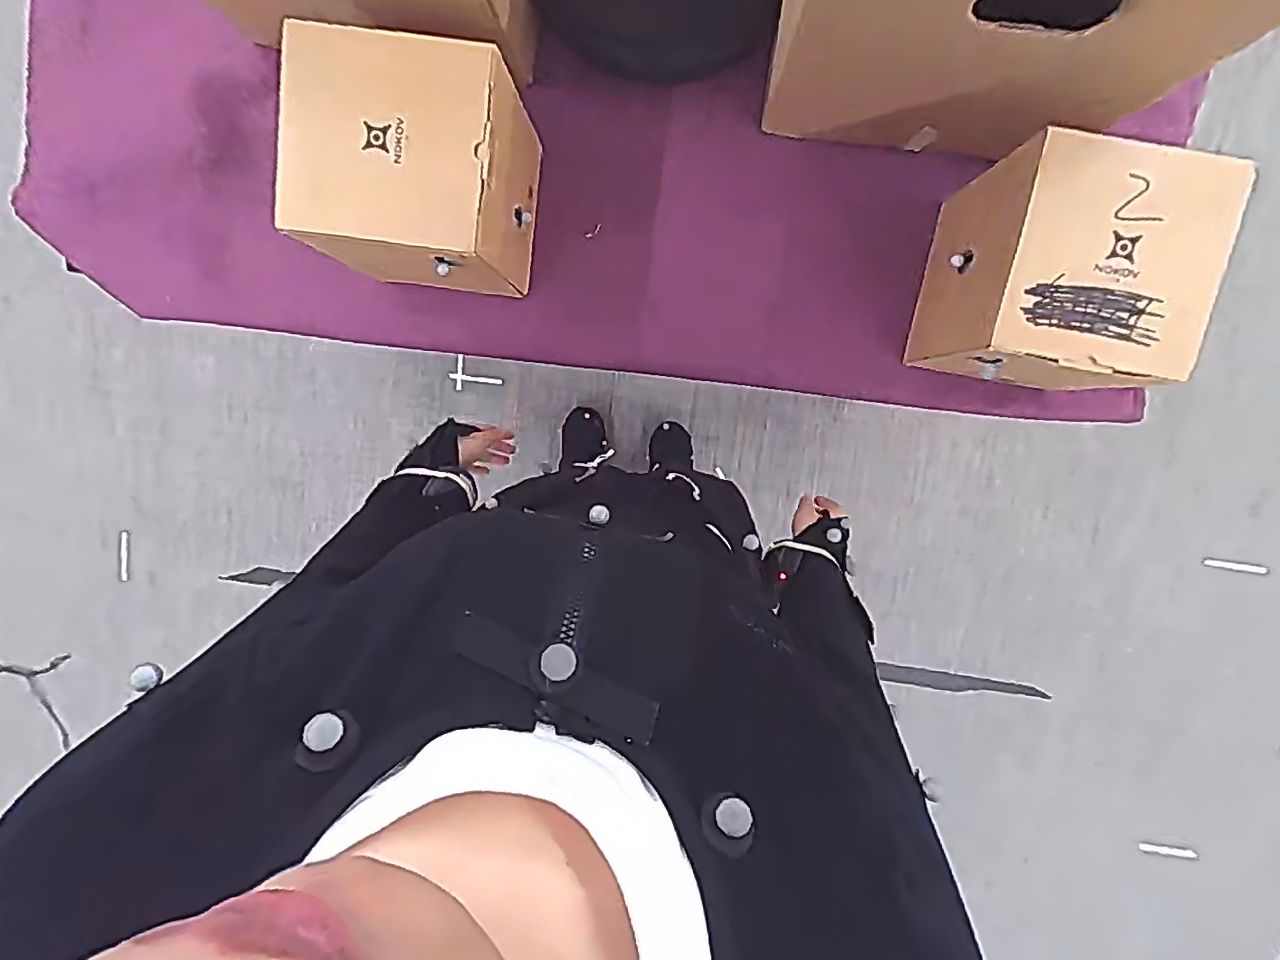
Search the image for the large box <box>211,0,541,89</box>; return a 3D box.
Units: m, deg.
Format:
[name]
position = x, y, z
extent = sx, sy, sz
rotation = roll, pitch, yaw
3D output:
[large box]
position = -0.243, -0.619, 0.417
extent = 0.320, 0.320, 0.408
rotation = 9, 101, 1
